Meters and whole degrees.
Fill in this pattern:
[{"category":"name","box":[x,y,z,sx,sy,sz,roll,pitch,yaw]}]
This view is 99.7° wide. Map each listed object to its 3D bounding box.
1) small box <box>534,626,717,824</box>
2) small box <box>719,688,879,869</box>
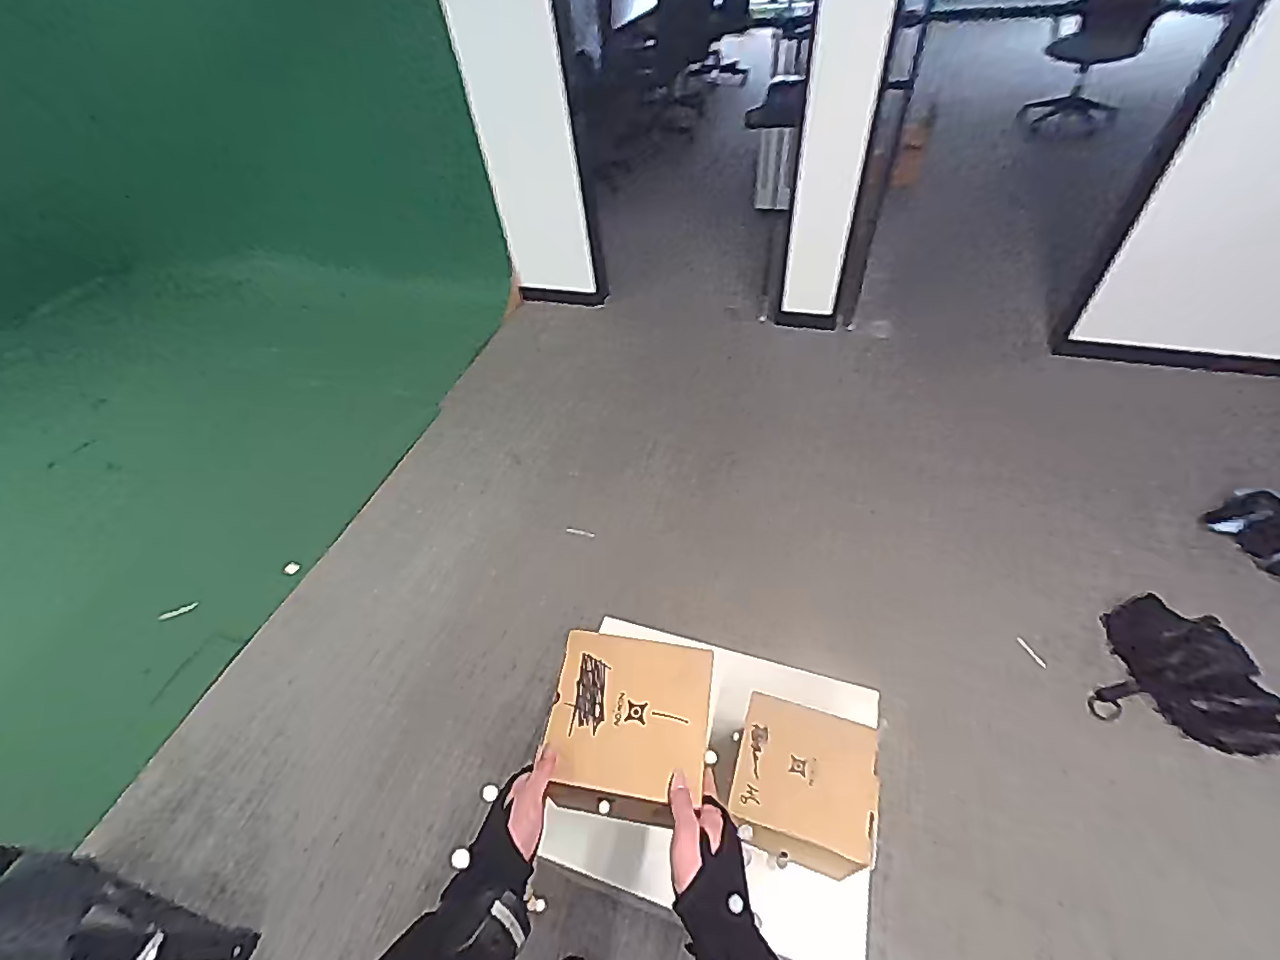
[{"category":"small box","box":[-0.009,0.296,0.647,0.179,0.176,0.168,7,52,6]},{"category":"small box","box":[0.221,0.430,0.774,0.179,0.176,0.168,14,52,15]}]
